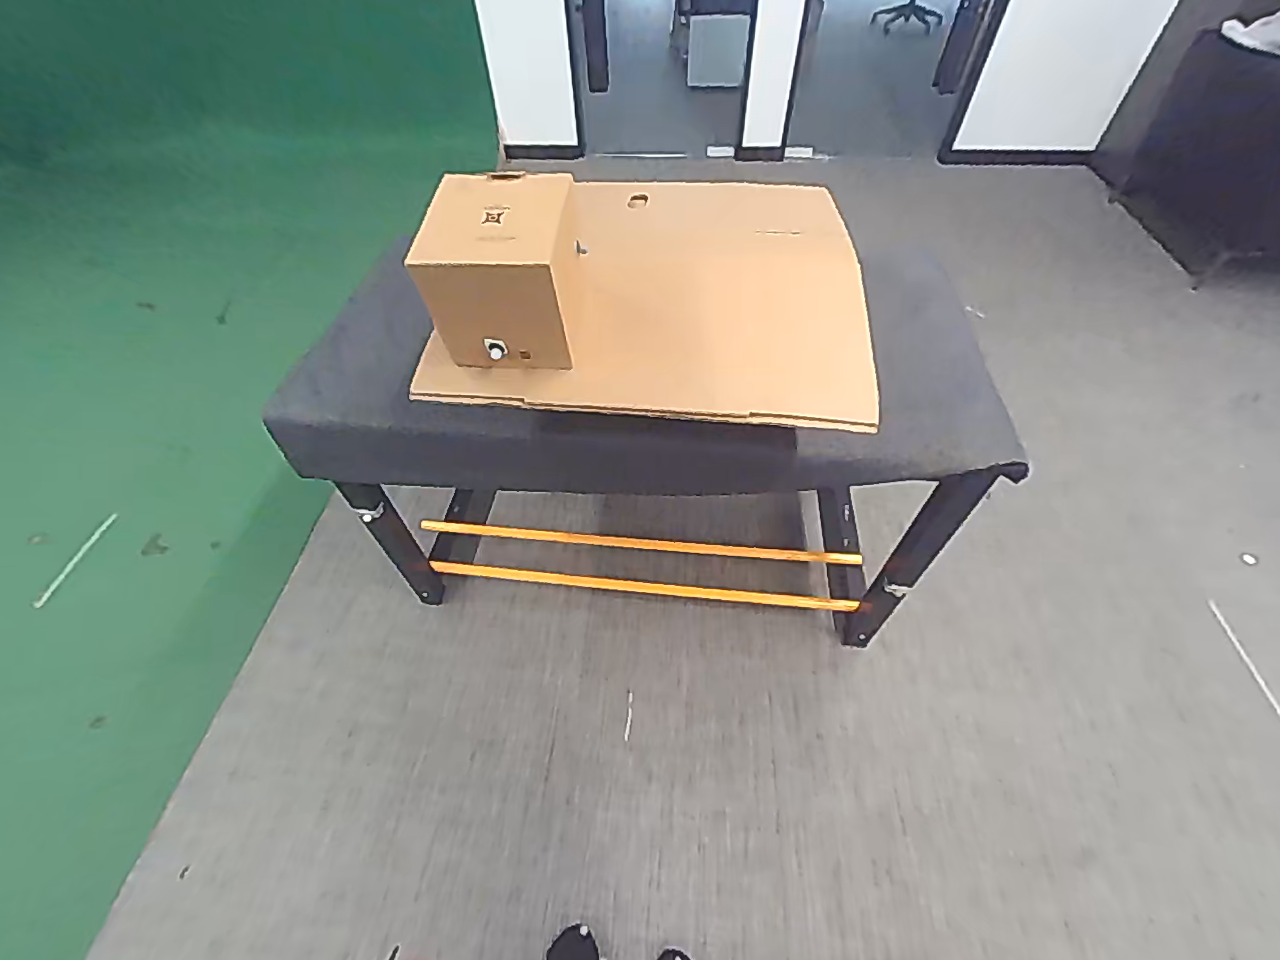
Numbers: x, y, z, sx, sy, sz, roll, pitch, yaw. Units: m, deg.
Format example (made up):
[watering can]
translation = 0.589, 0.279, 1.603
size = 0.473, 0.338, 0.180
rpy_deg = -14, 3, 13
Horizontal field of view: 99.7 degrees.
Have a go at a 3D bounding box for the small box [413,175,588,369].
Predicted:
[small box]
translation = -0.164, -0.267, 0.704
size = 0.168, 0.176, 0.179
rpy_deg = 1, 60, 5
